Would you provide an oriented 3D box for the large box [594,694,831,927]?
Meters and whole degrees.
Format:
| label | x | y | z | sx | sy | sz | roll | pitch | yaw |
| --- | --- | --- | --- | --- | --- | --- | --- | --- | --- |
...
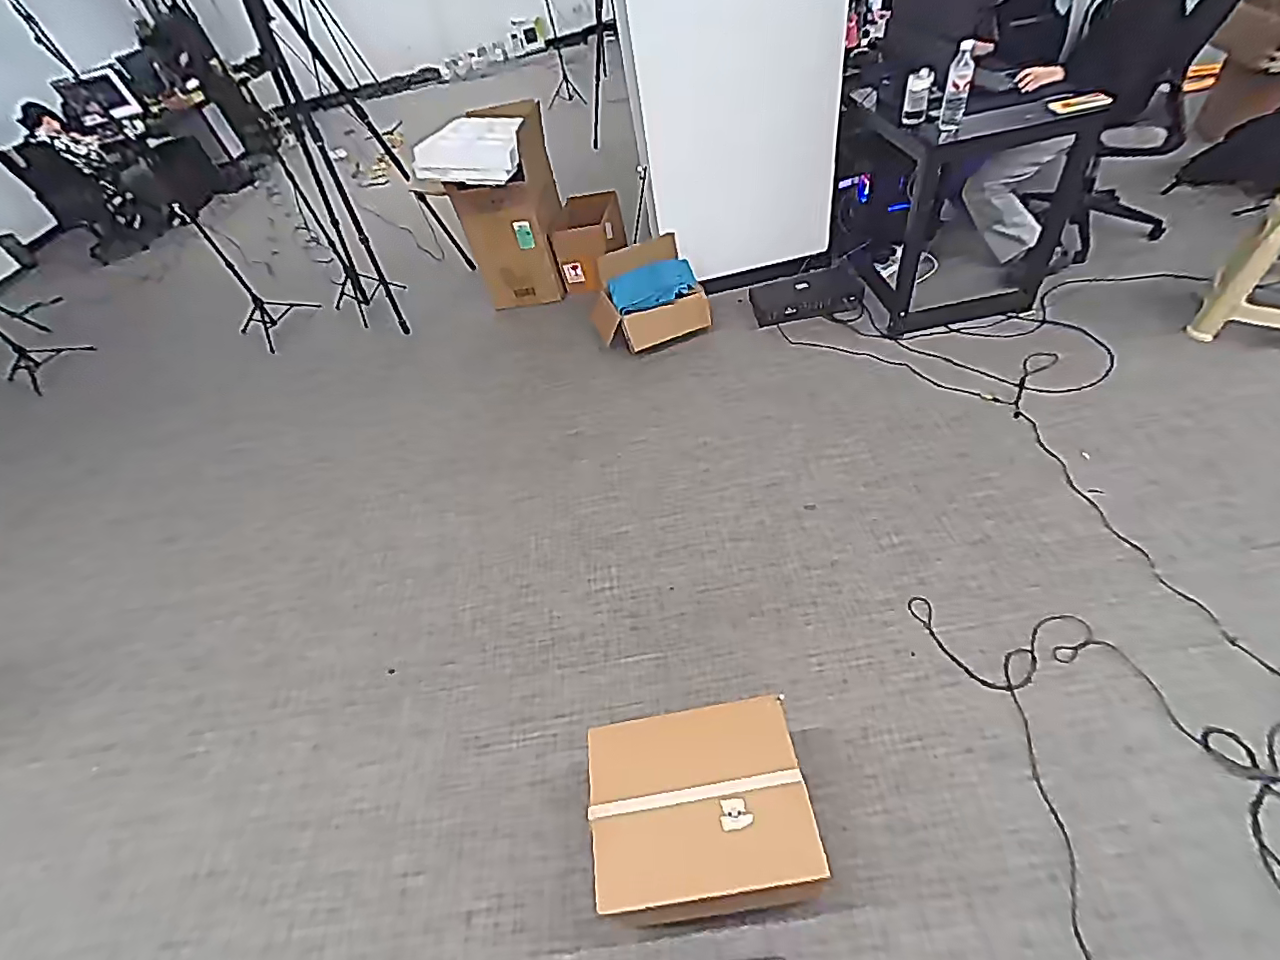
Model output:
| label | x | y | z | sx | sy | sz | roll | pitch | yaw |
| --- | --- | --- | --- | --- | --- | --- | --- | --- | --- |
| large box | 0.138 | 0.693 | 1.129 | 0.408 | 0.320 | 0.320 | -11 | 47 | 3 |
